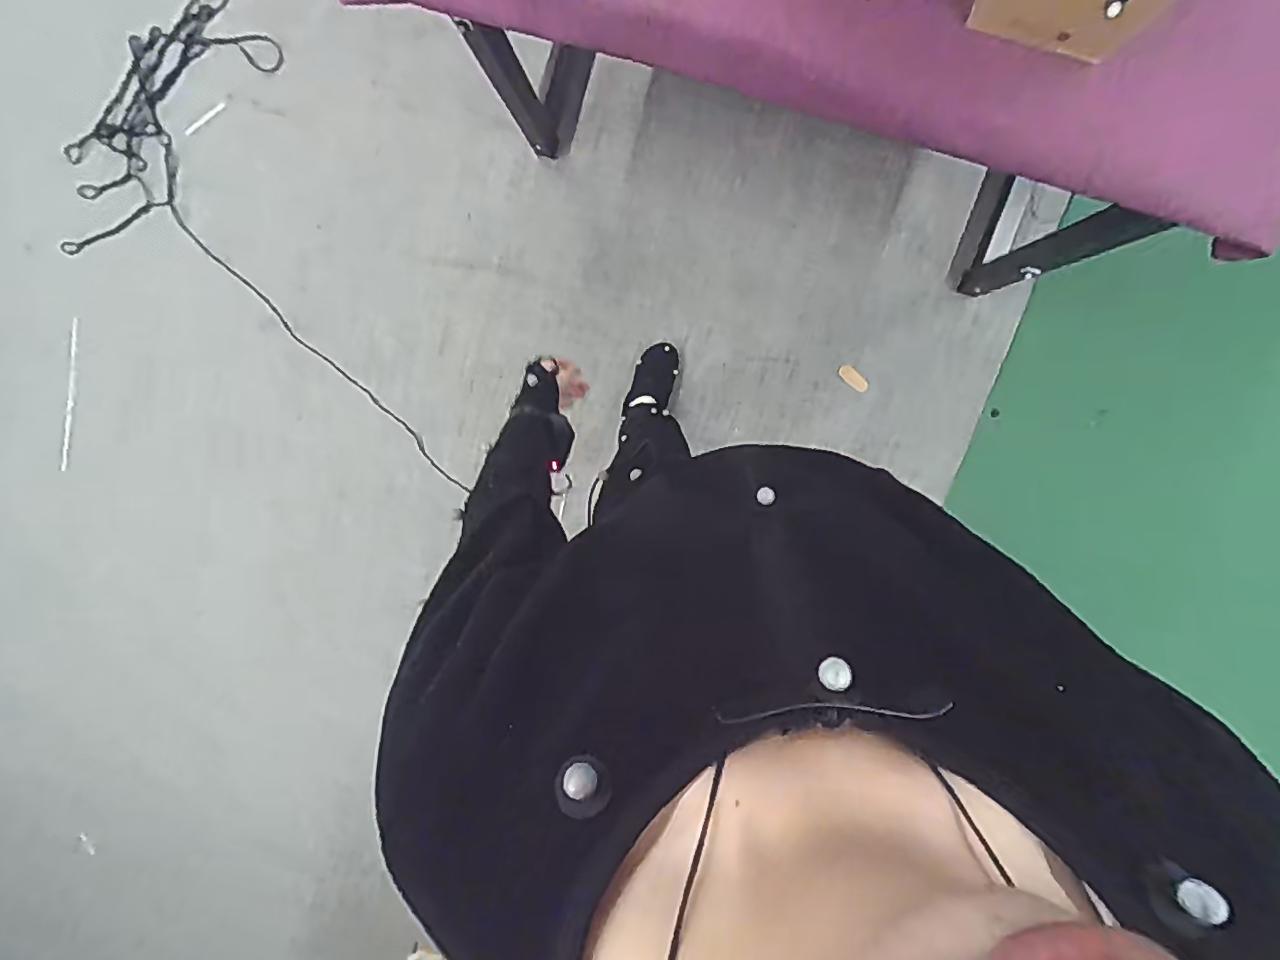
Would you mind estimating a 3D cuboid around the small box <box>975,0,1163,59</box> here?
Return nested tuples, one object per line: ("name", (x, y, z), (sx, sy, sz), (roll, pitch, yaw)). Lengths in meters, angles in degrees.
("small box", (0.488, -0.590, 0.558), (0.168, 0.176, 0.179), (19, 98, 1))
